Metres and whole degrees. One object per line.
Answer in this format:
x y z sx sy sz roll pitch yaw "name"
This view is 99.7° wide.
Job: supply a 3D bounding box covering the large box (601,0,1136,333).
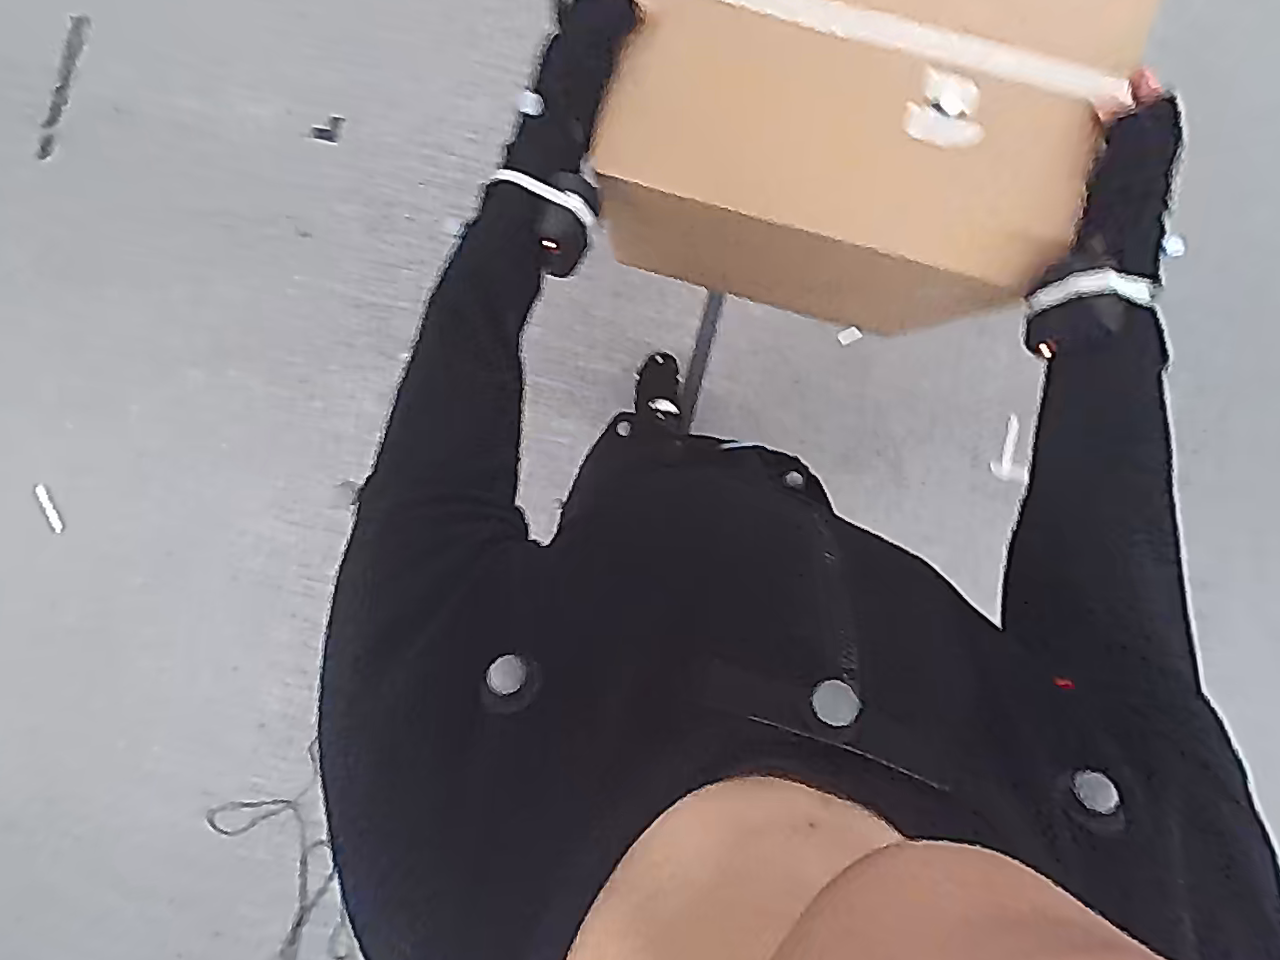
0.191 -0.379 0.596 0.408 0.320 0.320 15 99 -2 "large box"
